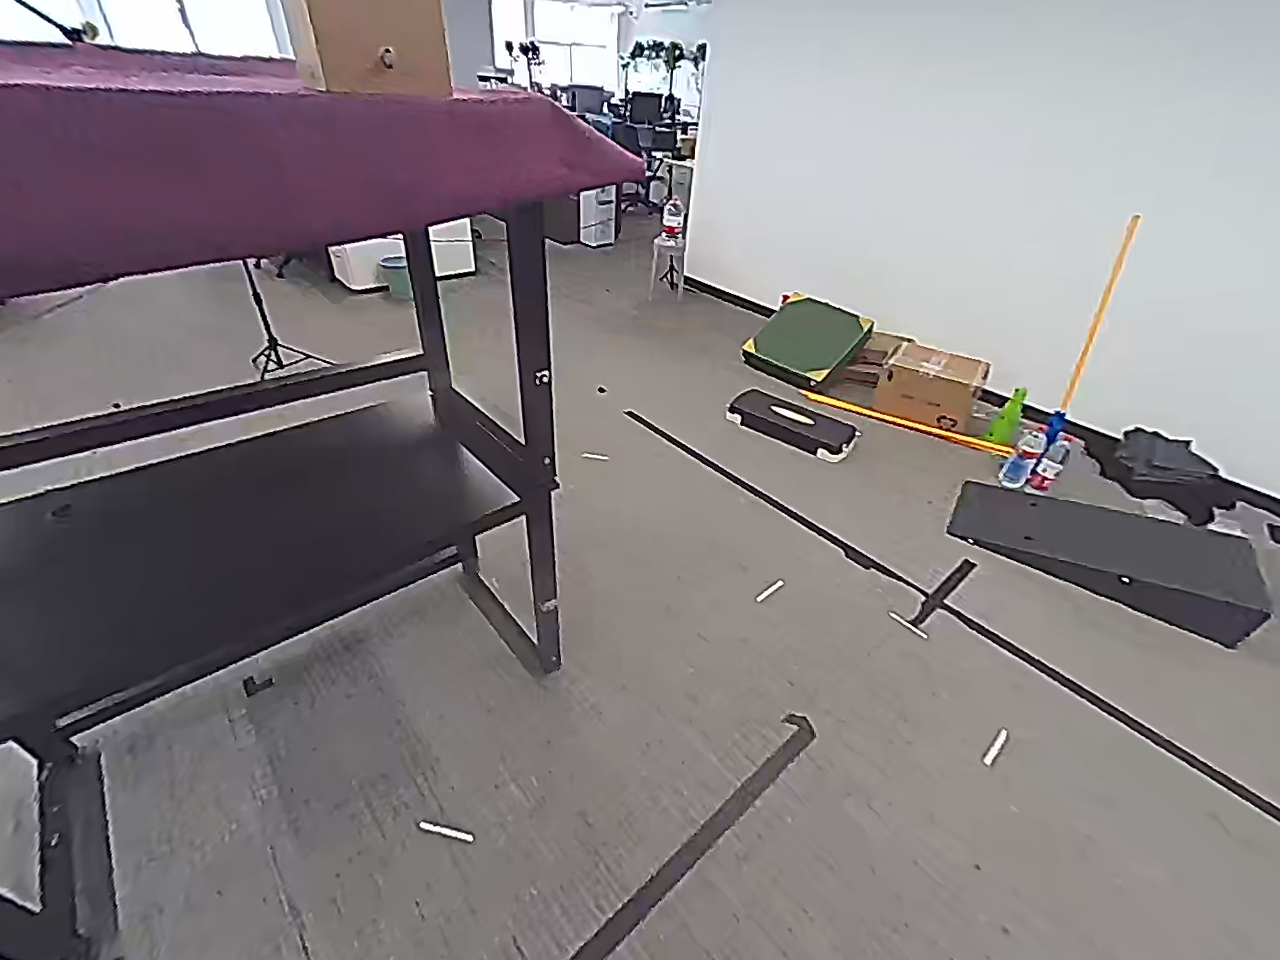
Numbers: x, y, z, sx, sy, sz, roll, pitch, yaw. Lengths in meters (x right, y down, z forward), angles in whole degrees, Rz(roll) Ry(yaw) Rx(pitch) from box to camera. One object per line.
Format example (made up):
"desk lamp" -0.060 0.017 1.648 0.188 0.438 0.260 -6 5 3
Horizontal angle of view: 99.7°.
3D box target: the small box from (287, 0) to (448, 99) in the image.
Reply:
"small box" -0.385 -0.646 0.763 0.179 0.176 0.168 -22 42 -31
